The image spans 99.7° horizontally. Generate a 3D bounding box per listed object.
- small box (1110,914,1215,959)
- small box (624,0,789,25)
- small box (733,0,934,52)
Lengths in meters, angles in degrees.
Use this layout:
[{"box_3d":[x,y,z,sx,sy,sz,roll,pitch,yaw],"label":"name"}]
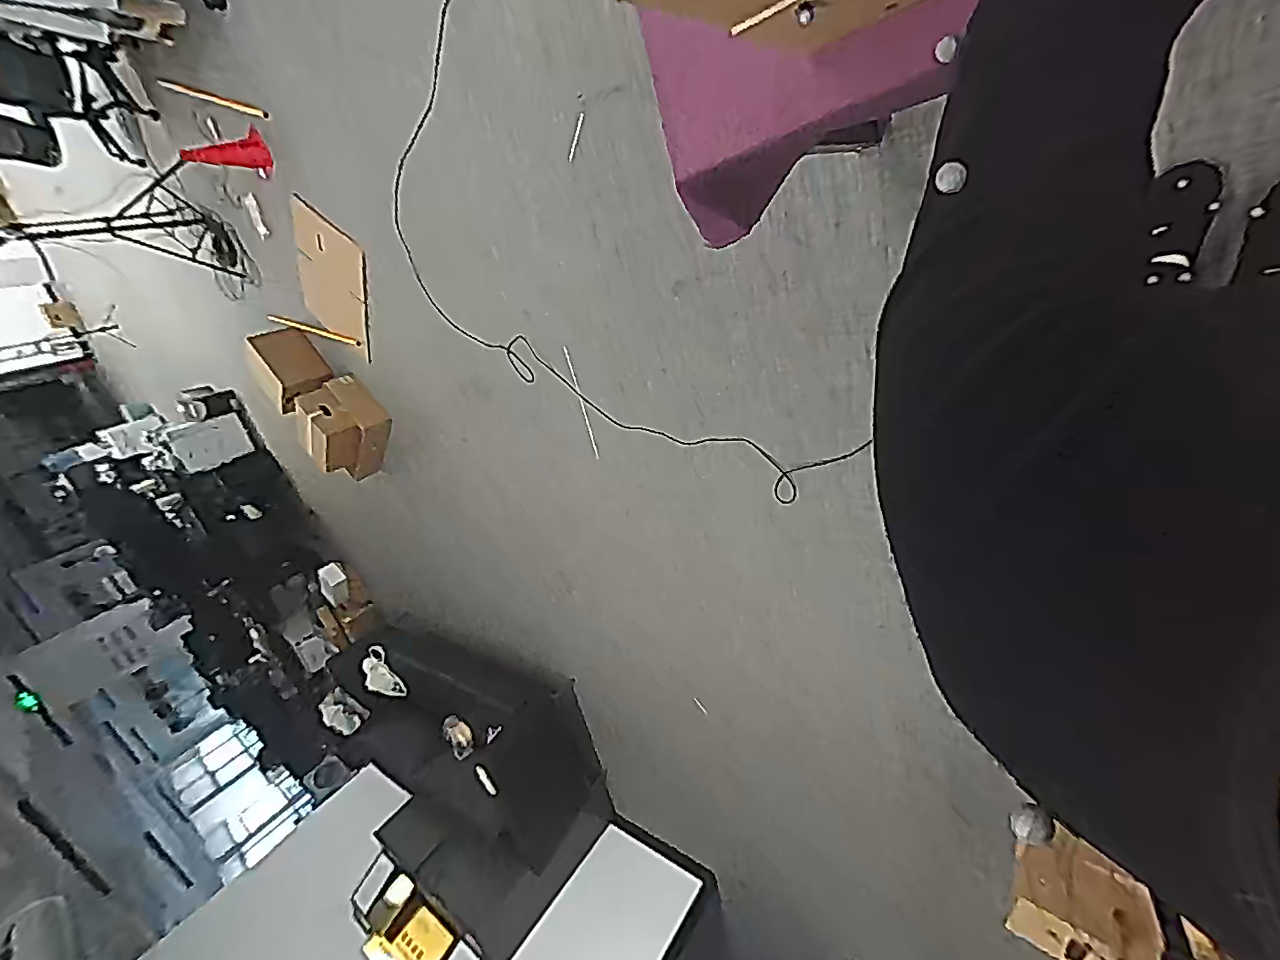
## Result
[{"box_3d":[1.231,1.183,1.277,0.179,0.176,0.168,4,120,40],"label":"small box"},{"box_3d":[0.085,-0.460,0.377,0.179,0.176,0.168,6,119,40],"label":"small box"},{"box_3d":[0.183,-0.530,0.489,0.168,0.176,0.179,5,118,40],"label":"small box"}]
